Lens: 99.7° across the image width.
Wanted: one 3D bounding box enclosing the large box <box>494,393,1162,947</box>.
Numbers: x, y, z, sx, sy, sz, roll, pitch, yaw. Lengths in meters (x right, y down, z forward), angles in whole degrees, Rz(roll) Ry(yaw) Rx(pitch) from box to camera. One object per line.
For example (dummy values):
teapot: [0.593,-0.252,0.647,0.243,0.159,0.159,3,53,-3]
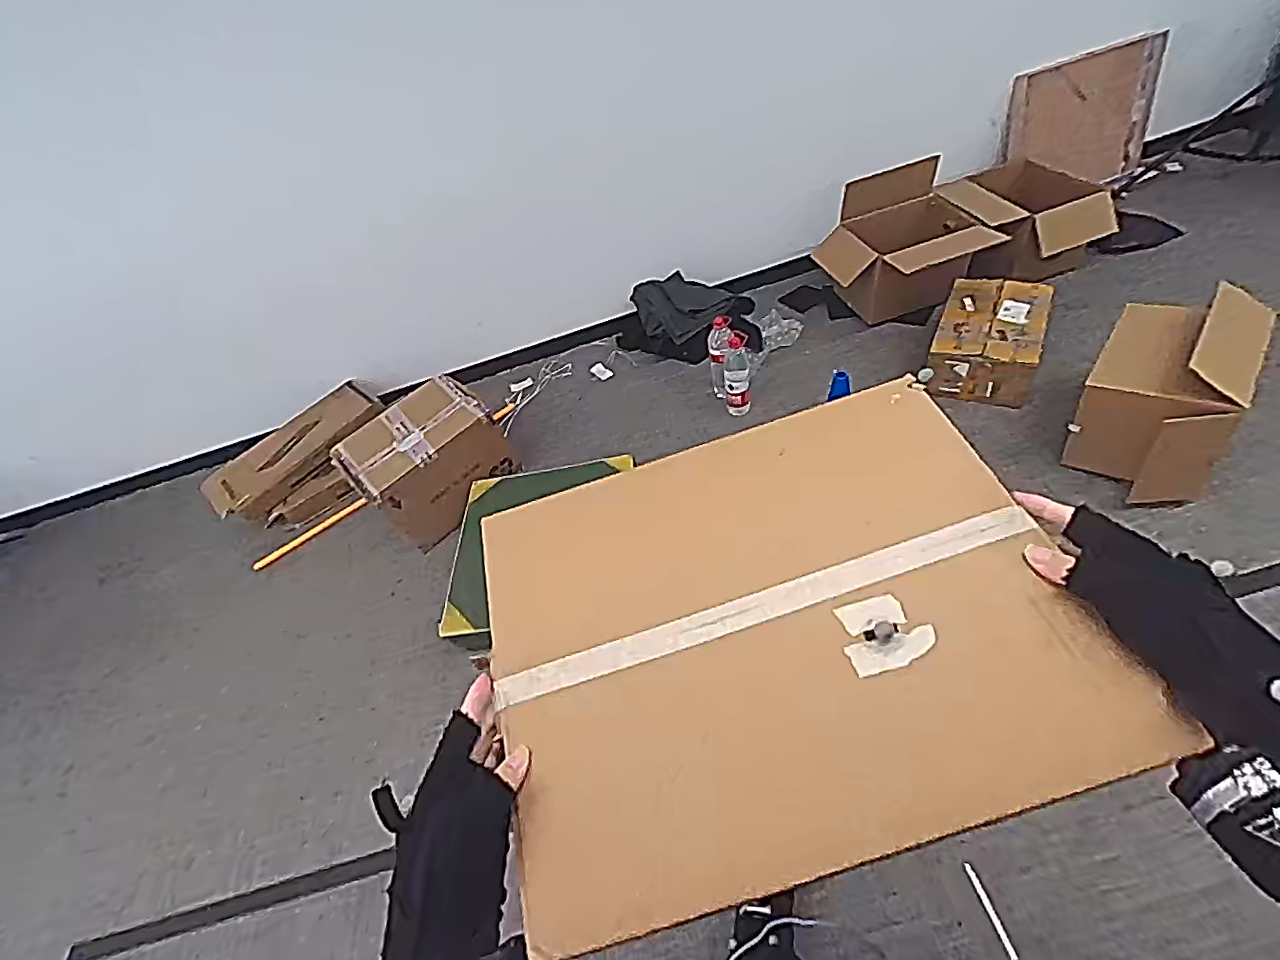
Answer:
large box: [0.117,0.181,0.530,0.408,0.320,0.320,-18,55,0]
